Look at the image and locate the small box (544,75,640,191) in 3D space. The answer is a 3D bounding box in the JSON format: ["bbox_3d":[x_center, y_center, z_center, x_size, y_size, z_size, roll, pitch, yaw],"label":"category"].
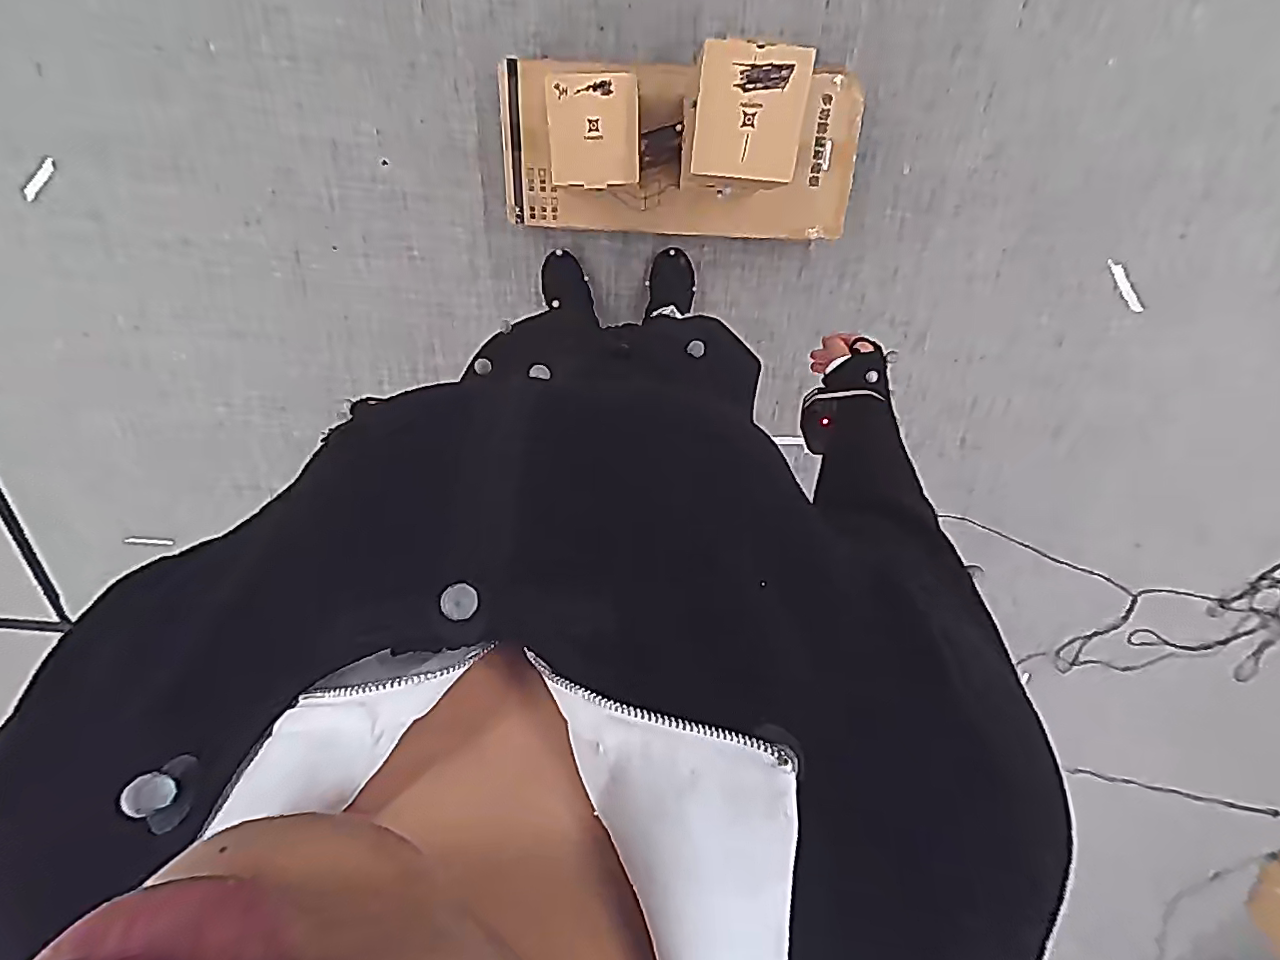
[{"bbox_3d":[-0.085,-0.663,1.049,0.168,0.176,0.179,1,116,1],"label":"small box"}]

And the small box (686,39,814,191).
[{"bbox_3d":[0.169,-0.590,0.896,0.168,0.176,0.179,6,116,-1],"label":"small box"}]

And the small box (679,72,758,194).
[{"bbox_3d":[0.163,-0.659,1.045,0.168,0.176,0.179,2,115,1],"label":"small box"}]
